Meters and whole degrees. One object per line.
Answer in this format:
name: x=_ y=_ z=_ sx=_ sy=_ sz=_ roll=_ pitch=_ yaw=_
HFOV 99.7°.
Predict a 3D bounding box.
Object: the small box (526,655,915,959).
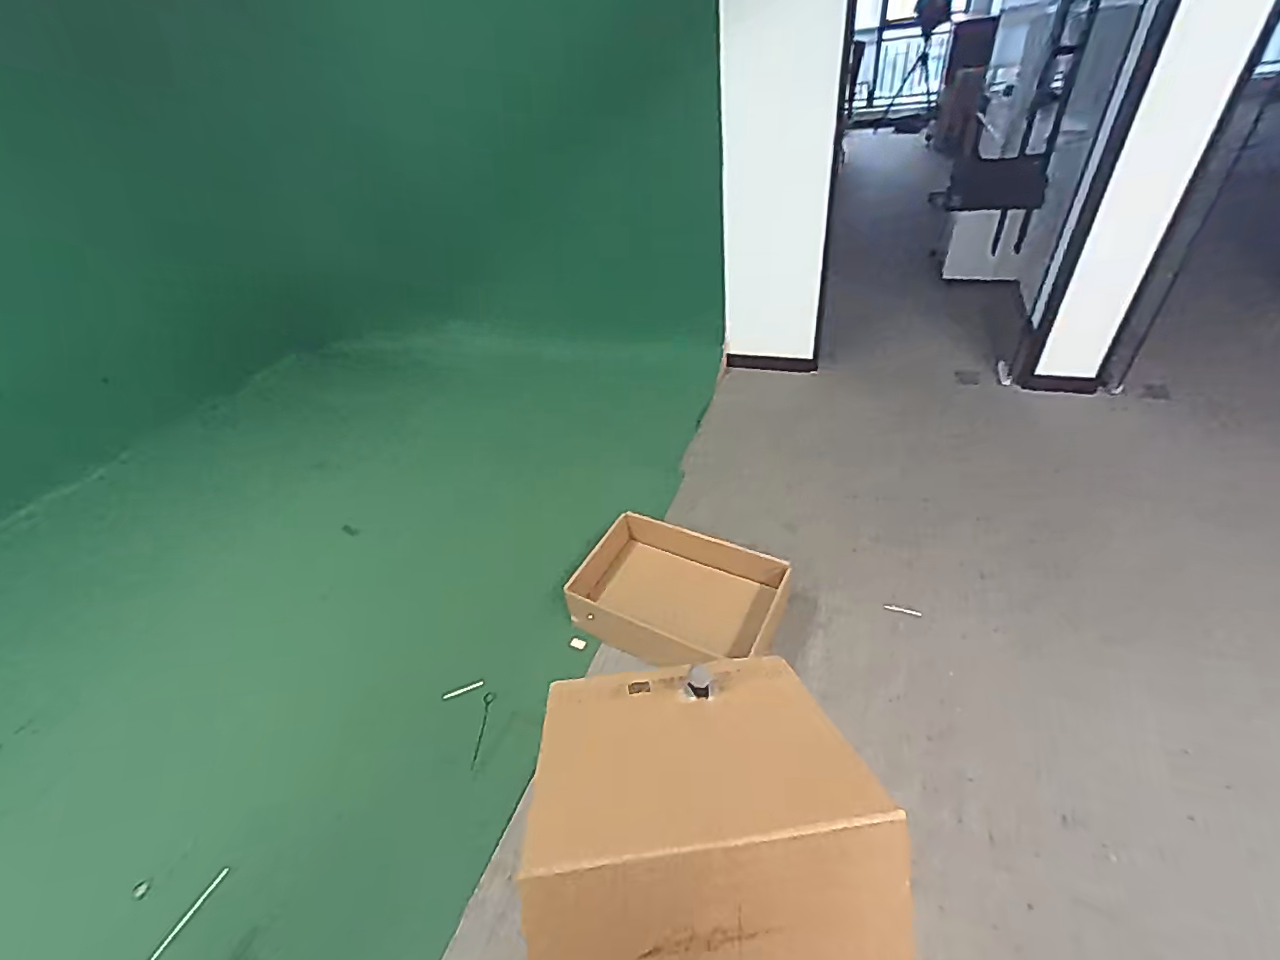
small box: x=0.035 y=0.226 z=0.315 sx=0.168 sy=0.179 sz=0.176 roll=-6 pitch=6 yaw=-4
